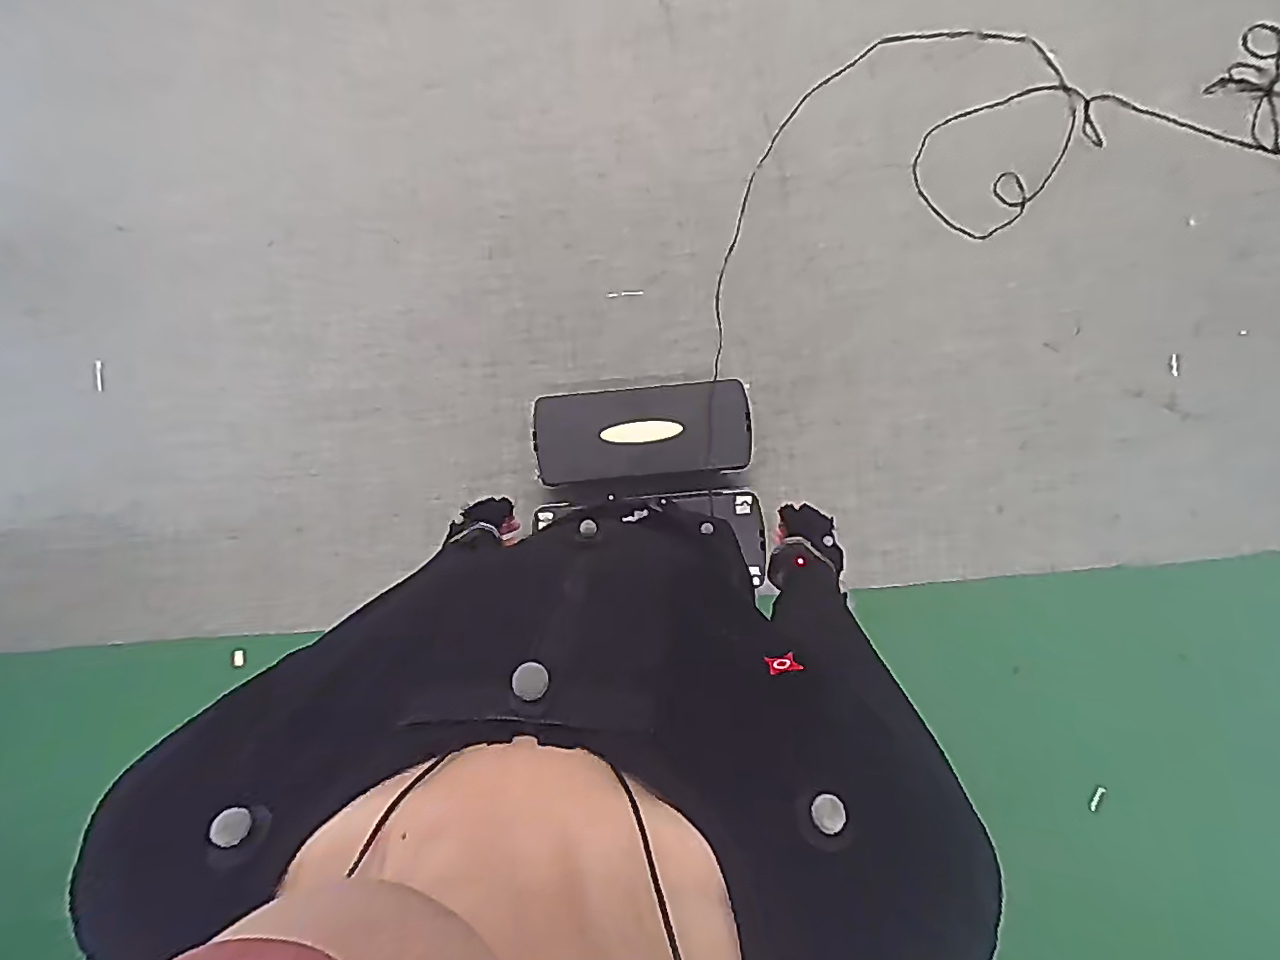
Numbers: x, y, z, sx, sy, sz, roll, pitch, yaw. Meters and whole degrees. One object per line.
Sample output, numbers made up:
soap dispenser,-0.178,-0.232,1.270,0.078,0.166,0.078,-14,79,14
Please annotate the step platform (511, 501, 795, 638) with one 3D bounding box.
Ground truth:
step platform,0.030,0.221,1.393,0.684,0.204,0.286,-5,87,0
